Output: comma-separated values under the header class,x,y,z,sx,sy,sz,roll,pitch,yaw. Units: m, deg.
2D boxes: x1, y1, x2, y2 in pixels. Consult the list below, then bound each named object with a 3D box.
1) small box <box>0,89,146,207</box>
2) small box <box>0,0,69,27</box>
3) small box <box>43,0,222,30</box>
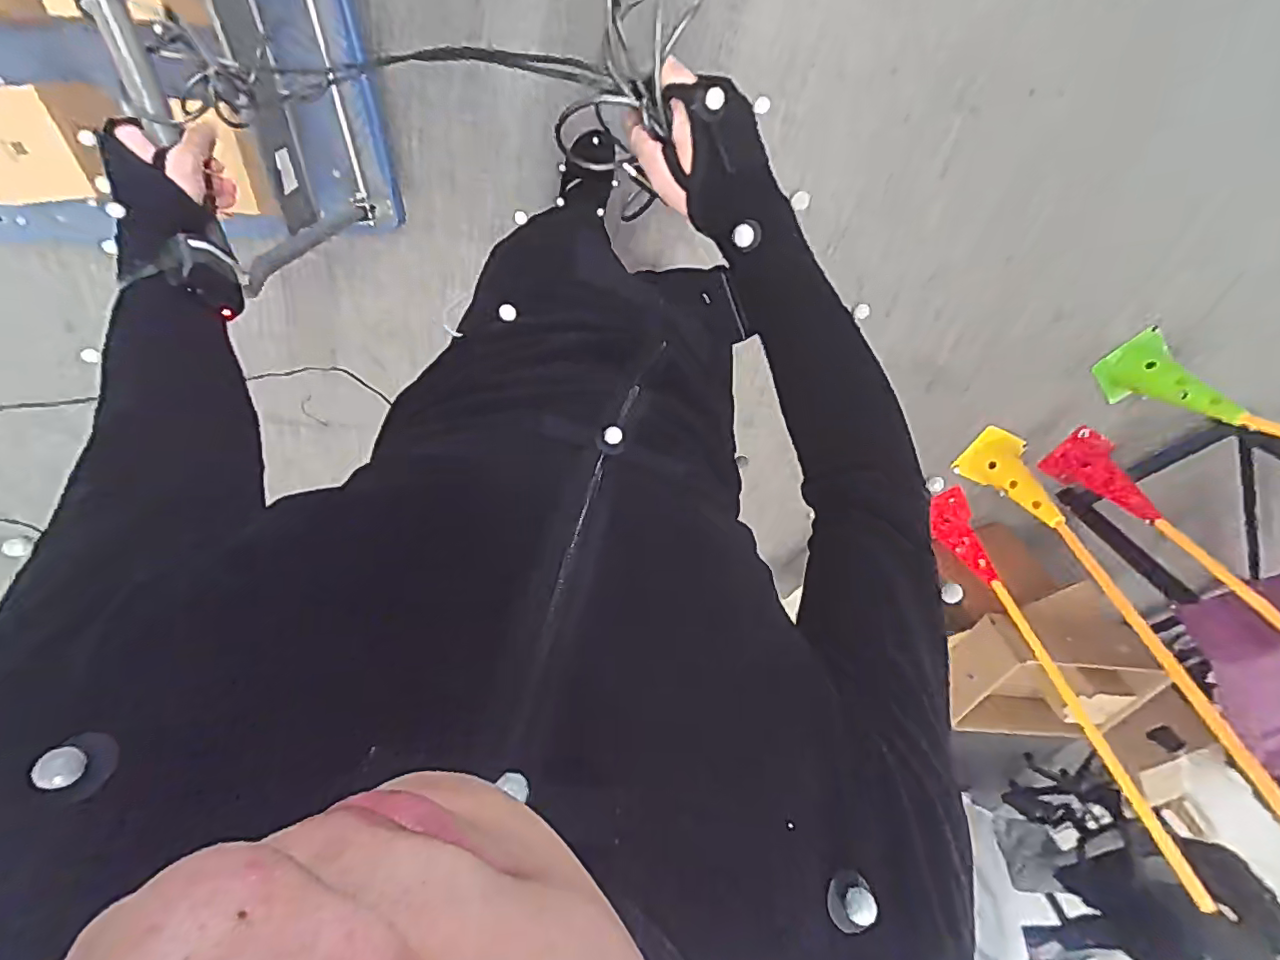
class,x,y,z,sx,sy,sz,roll,pitch,yaw
small box,-1.064,-0.606,0.983,0.179,0.176,0.168,-6,125,-2
small box,-1.067,-0.813,0.832,0.179,0.176,0.168,-5,127,-3
small box,-0.822,-0.824,0.852,0.179,0.176,0.168,-2,126,-5
